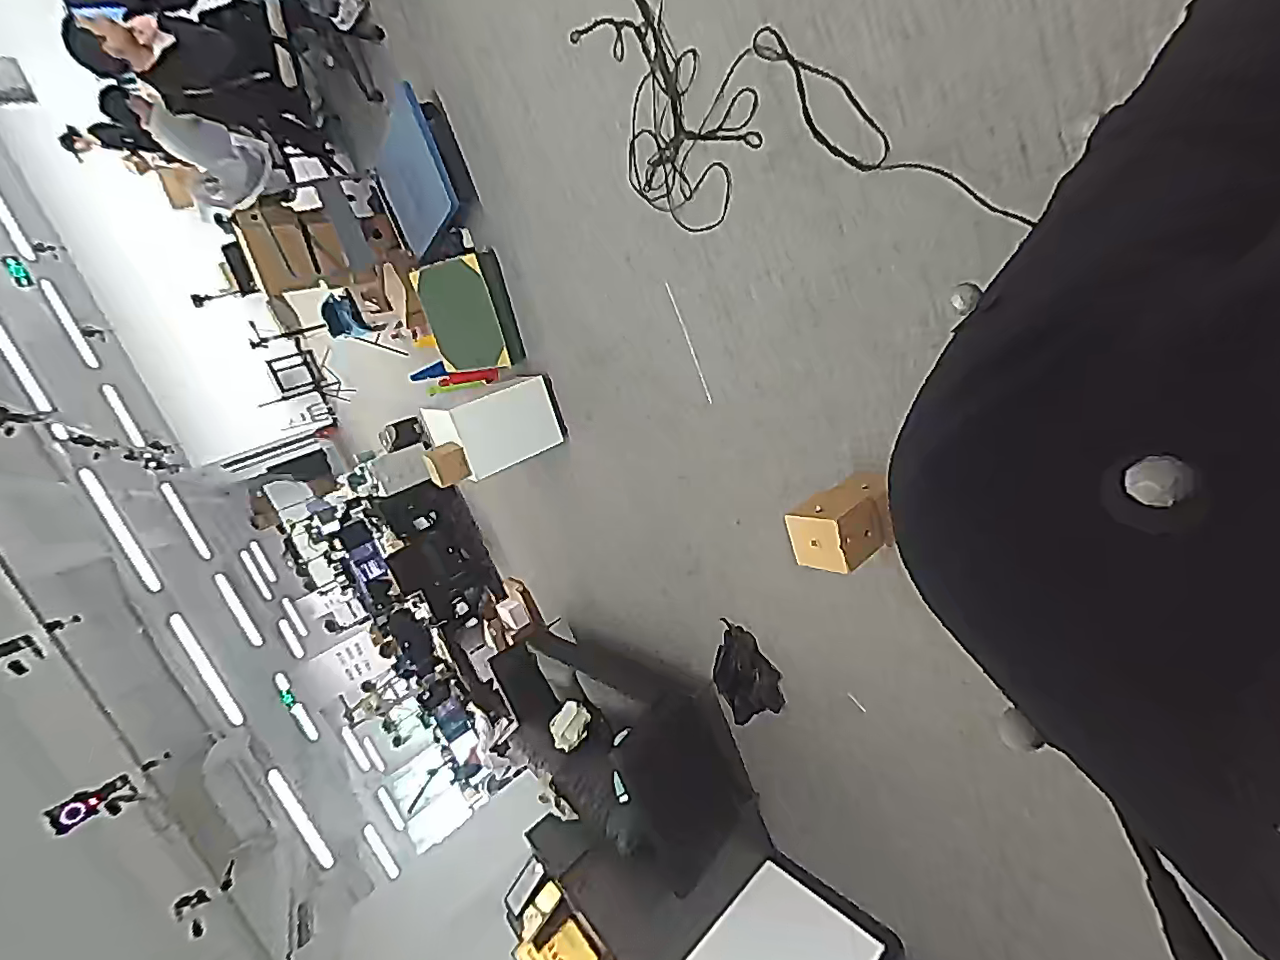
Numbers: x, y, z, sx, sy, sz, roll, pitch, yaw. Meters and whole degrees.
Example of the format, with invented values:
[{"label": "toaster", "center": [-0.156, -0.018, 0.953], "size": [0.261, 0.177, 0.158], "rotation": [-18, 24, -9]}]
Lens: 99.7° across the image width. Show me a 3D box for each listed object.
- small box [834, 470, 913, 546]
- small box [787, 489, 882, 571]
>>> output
[{"label": "small box", "center": [0.689, 0.077, 1.610], "size": [0.179, 0.176, 0.168], "rotation": [2, 116, 55]}, {"label": "small box", "center": [0.554, 0.134, 1.536], "size": [0.179, 0.176, 0.168], "rotation": [3, 116, 55]}]
